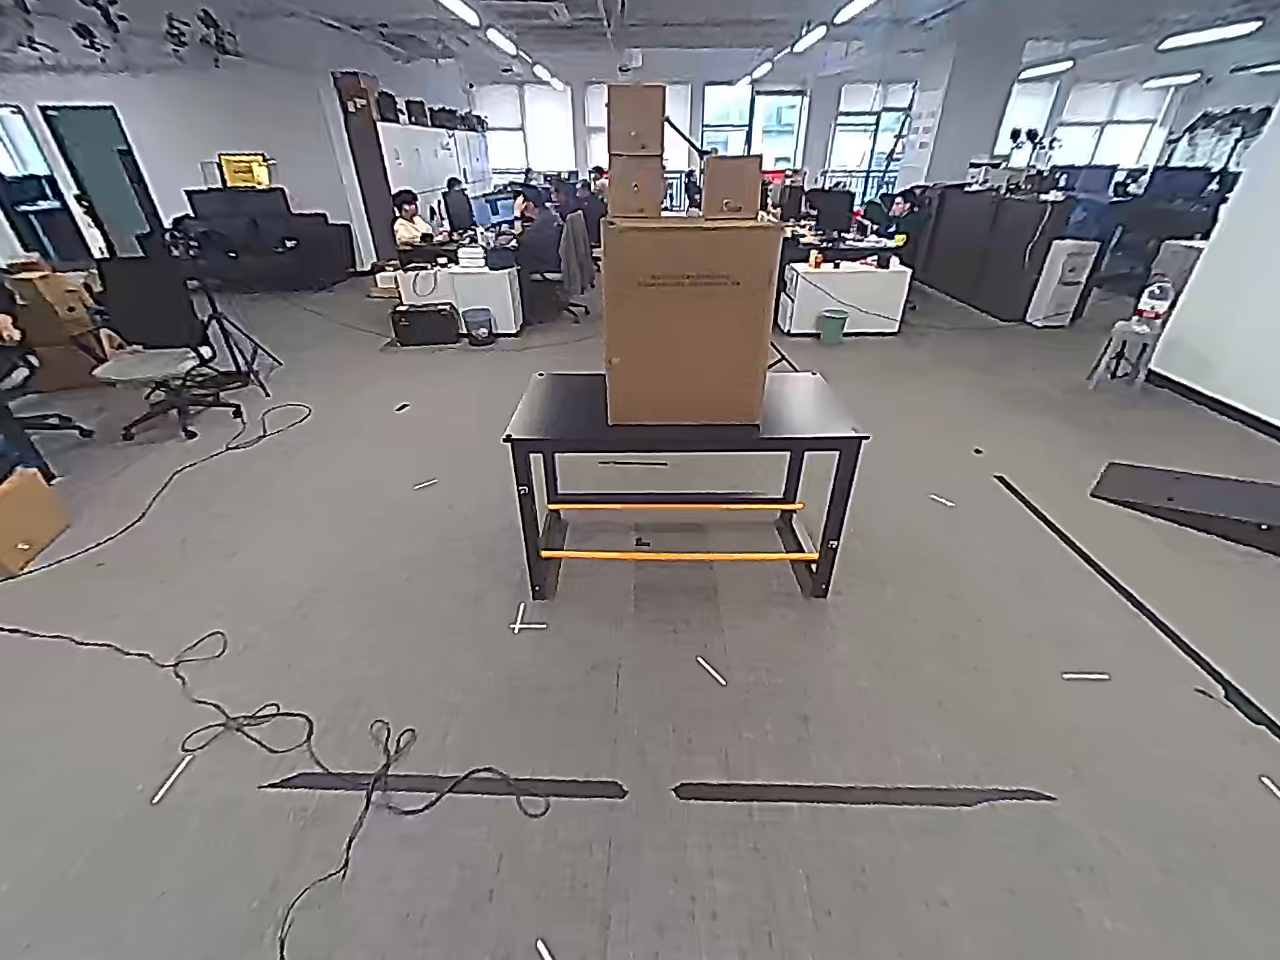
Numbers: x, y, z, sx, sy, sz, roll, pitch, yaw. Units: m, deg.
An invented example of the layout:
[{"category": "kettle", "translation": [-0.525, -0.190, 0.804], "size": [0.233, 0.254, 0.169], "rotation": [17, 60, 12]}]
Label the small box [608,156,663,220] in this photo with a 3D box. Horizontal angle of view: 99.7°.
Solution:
[{"category": "small box", "translation": [-0.013, -0.918, 1.698], "size": [0.168, 0.176, 0.179], "rotation": [1, 31, 0]}]

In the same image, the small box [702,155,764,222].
[{"category": "small box", "translation": [0.279, -0.894, 1.658], "size": [0.168, 0.176, 0.179], "rotation": [-1, 31, 3]}]

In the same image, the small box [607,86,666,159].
[{"category": "small box", "translation": [-0.008, -1.051, 1.599], "size": [0.168, 0.176, 0.179], "rotation": [1, 31, 1]}]
